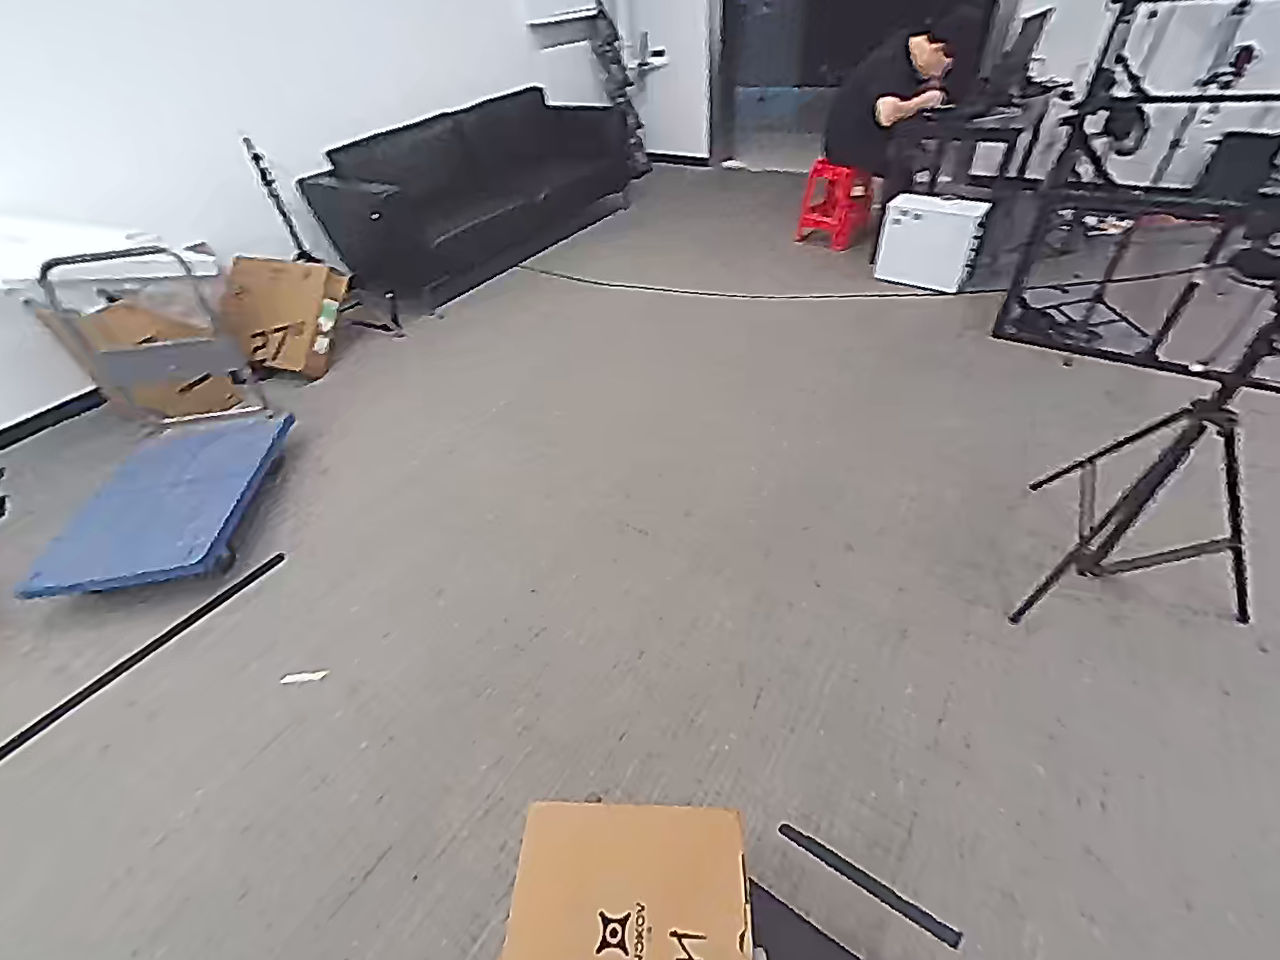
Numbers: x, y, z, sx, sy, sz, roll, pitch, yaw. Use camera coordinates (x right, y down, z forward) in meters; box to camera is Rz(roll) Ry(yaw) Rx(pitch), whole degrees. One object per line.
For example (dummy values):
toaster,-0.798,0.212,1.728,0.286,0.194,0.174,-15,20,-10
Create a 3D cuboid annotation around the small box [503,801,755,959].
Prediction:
small box,0.000,0.375,0.432,0.179,0.176,0.168,-2,45,6
